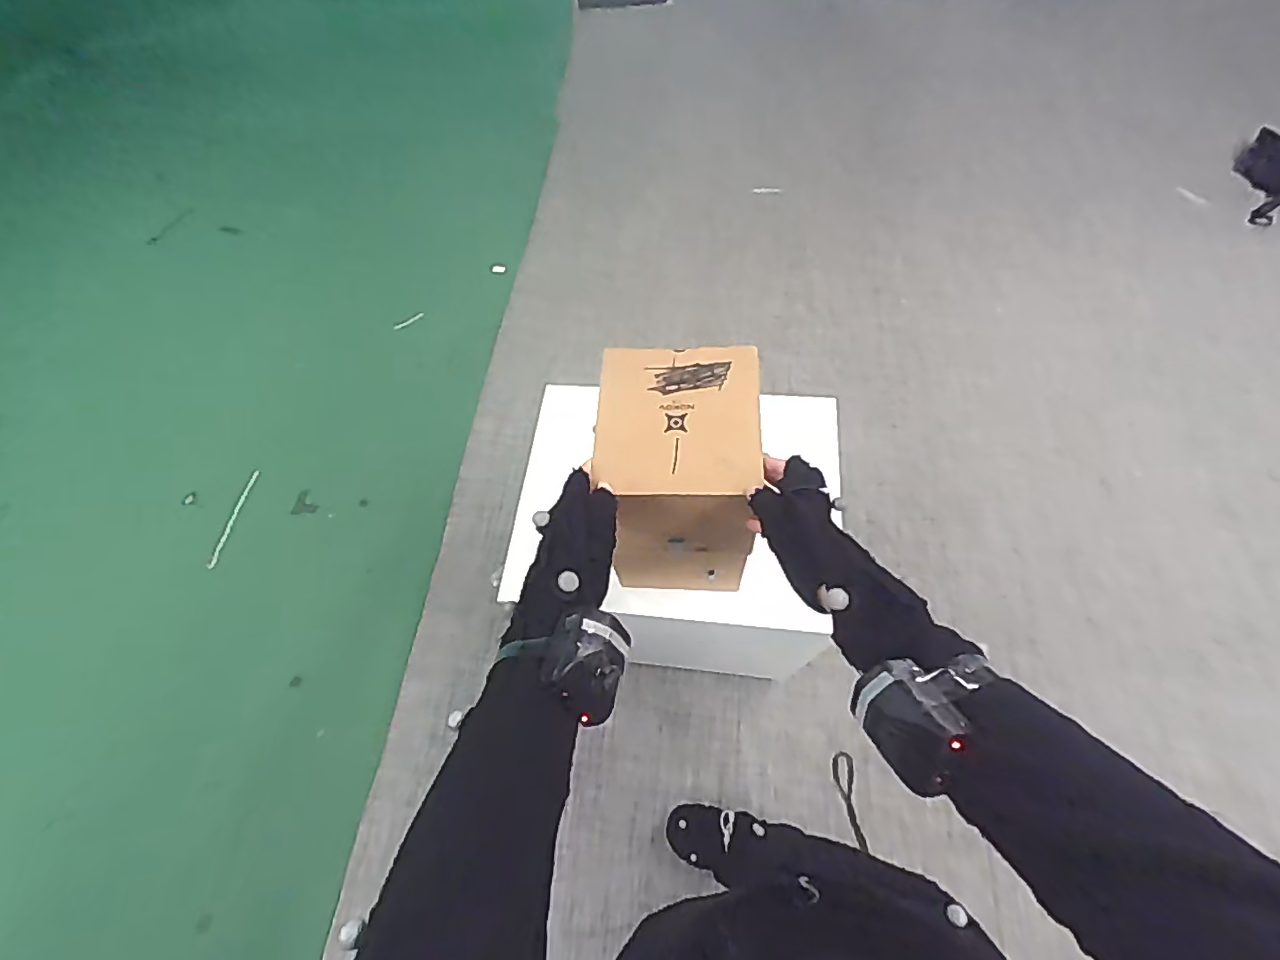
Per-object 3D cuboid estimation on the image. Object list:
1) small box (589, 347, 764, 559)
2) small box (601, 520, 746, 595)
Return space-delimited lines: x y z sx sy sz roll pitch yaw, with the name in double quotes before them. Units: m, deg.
"small box" 0.042 -0.024 0.607 0.168 0.176 0.179 -3 61 6
"small box" 0.052 0.057 0.753 0.179 0.176 0.168 0 62 8
